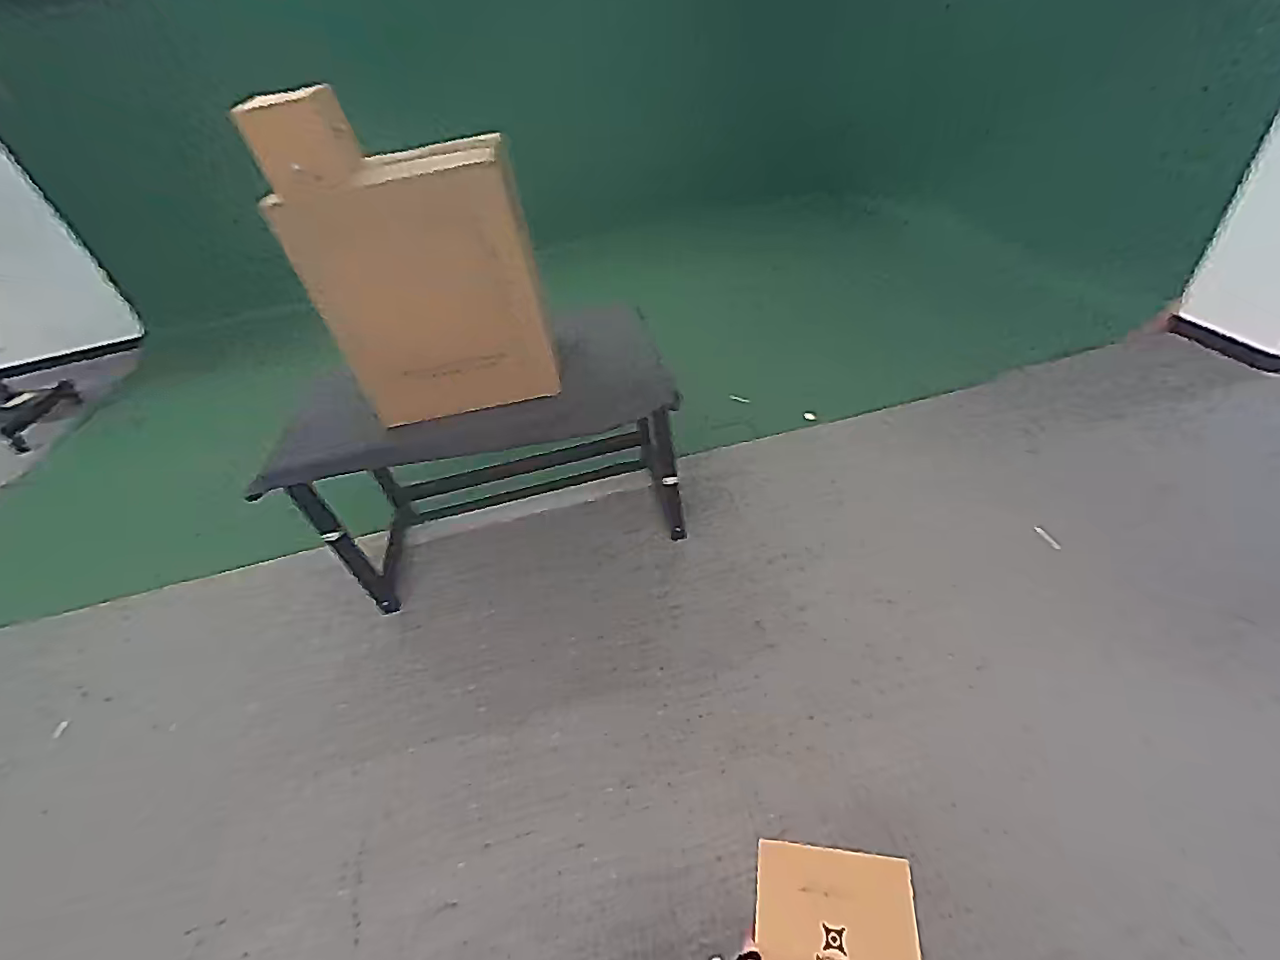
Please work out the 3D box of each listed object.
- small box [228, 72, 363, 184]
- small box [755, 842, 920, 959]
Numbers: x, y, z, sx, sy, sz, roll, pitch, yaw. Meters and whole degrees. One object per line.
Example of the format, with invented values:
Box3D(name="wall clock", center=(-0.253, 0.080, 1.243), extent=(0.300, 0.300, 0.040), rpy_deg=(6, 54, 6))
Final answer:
Box3D(name="small box", center=(-0.747, -0.780, 1.199), extent=(0.168, 0.176, 0.179), rpy_deg=(-11, 44, 1))
Box3D(name="small box", center=(0.223, 0.547, 0.613), extent=(0.168, 0.176, 0.179), rpy_deg=(-4, 39, 16))
